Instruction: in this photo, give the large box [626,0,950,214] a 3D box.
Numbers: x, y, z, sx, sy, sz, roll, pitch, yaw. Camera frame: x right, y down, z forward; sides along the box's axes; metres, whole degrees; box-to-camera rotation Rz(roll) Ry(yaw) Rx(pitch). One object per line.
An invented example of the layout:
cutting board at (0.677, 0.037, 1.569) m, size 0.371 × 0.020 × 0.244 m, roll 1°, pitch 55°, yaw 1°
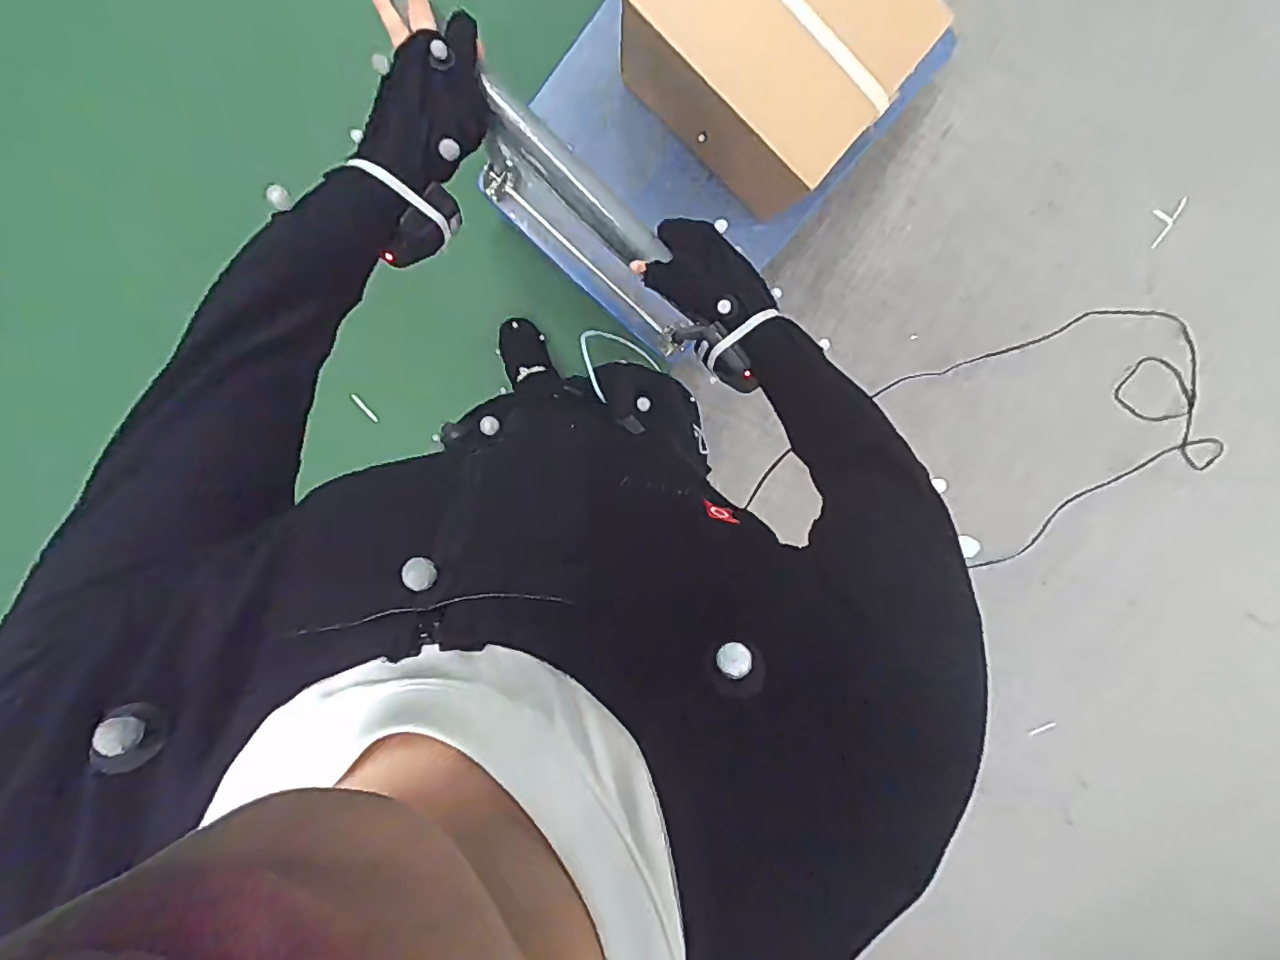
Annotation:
large box at (0.224, -0.753, 0.954) m, size 0.408 × 0.320 × 0.320 m, roll 39°, pitch 102°, yaw -12°
